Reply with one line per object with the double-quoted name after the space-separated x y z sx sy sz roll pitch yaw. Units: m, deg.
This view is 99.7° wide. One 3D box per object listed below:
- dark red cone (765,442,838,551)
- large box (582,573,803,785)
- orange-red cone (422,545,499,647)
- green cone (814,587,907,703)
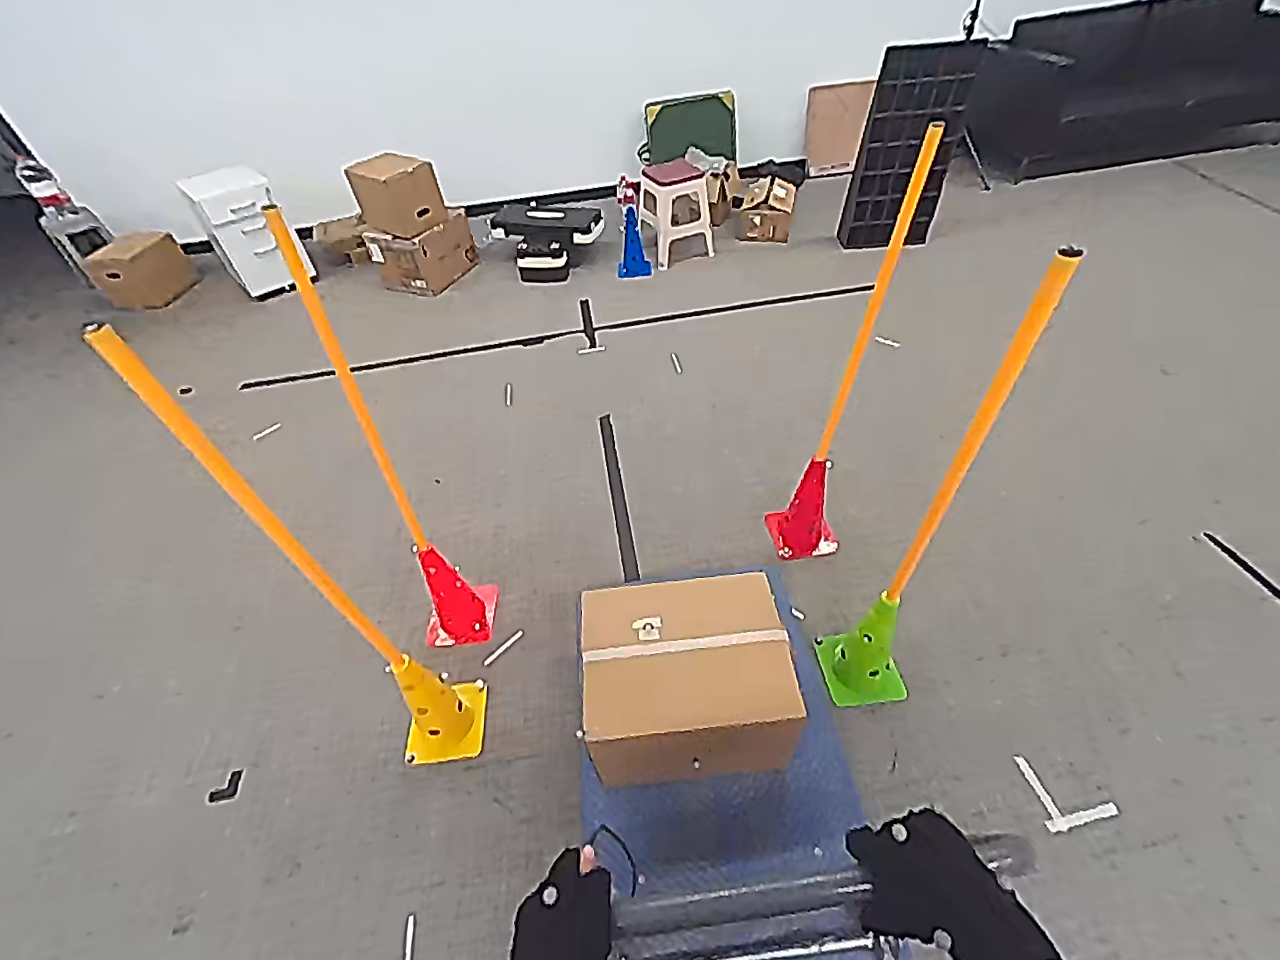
0.533 0.040 1.701 0.201 0.394 0.202 -9 46 -5 "dark red cone"
0.100 0.440 1.183 0.408 0.320 0.320 -7 46 1 "large box"
-0.562 0.312 1.582 0.198 0.360 0.199 -4 44 1 "orange-red cone"
0.596 0.394 1.375 0.202 0.368 0.200 -6 46 -2 "green cone"
